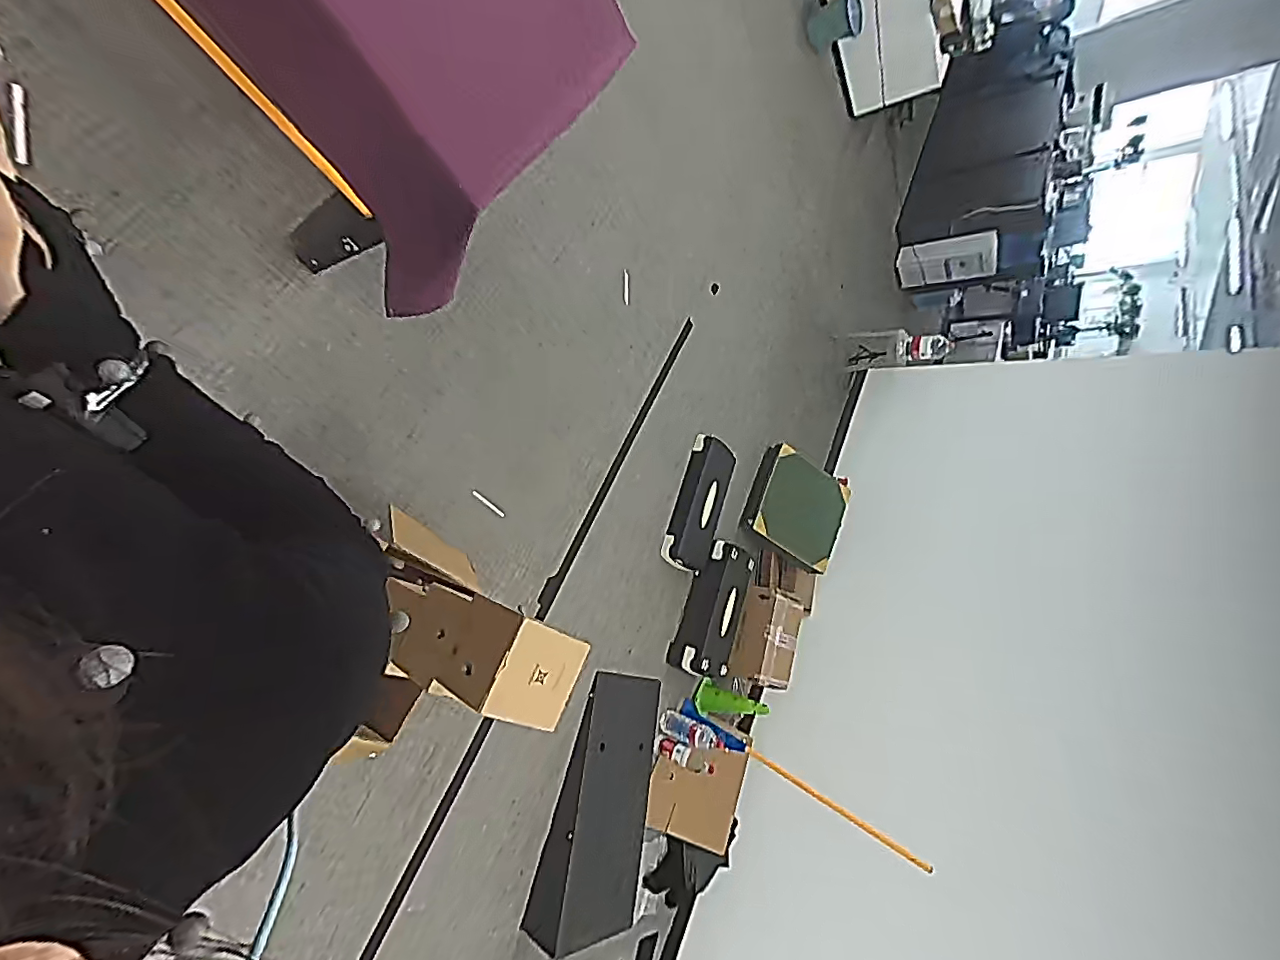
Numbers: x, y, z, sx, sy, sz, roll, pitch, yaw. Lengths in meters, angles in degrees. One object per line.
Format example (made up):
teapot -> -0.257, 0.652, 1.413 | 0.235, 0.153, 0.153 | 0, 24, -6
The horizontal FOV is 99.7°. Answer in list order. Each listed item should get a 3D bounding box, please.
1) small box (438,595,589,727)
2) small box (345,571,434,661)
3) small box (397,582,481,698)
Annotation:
small box -> -0.233, 0.325, 0.991 | 0.179, 0.176, 0.168 | 40, 68, -42
small box -> -0.596, 0.331, 1.327 | 0.168, 0.176, 0.179 | 20, 82, -46
small box -> -0.358, 0.325, 1.098 | 0.168, 0.176, 0.179 | 38, 69, -41
